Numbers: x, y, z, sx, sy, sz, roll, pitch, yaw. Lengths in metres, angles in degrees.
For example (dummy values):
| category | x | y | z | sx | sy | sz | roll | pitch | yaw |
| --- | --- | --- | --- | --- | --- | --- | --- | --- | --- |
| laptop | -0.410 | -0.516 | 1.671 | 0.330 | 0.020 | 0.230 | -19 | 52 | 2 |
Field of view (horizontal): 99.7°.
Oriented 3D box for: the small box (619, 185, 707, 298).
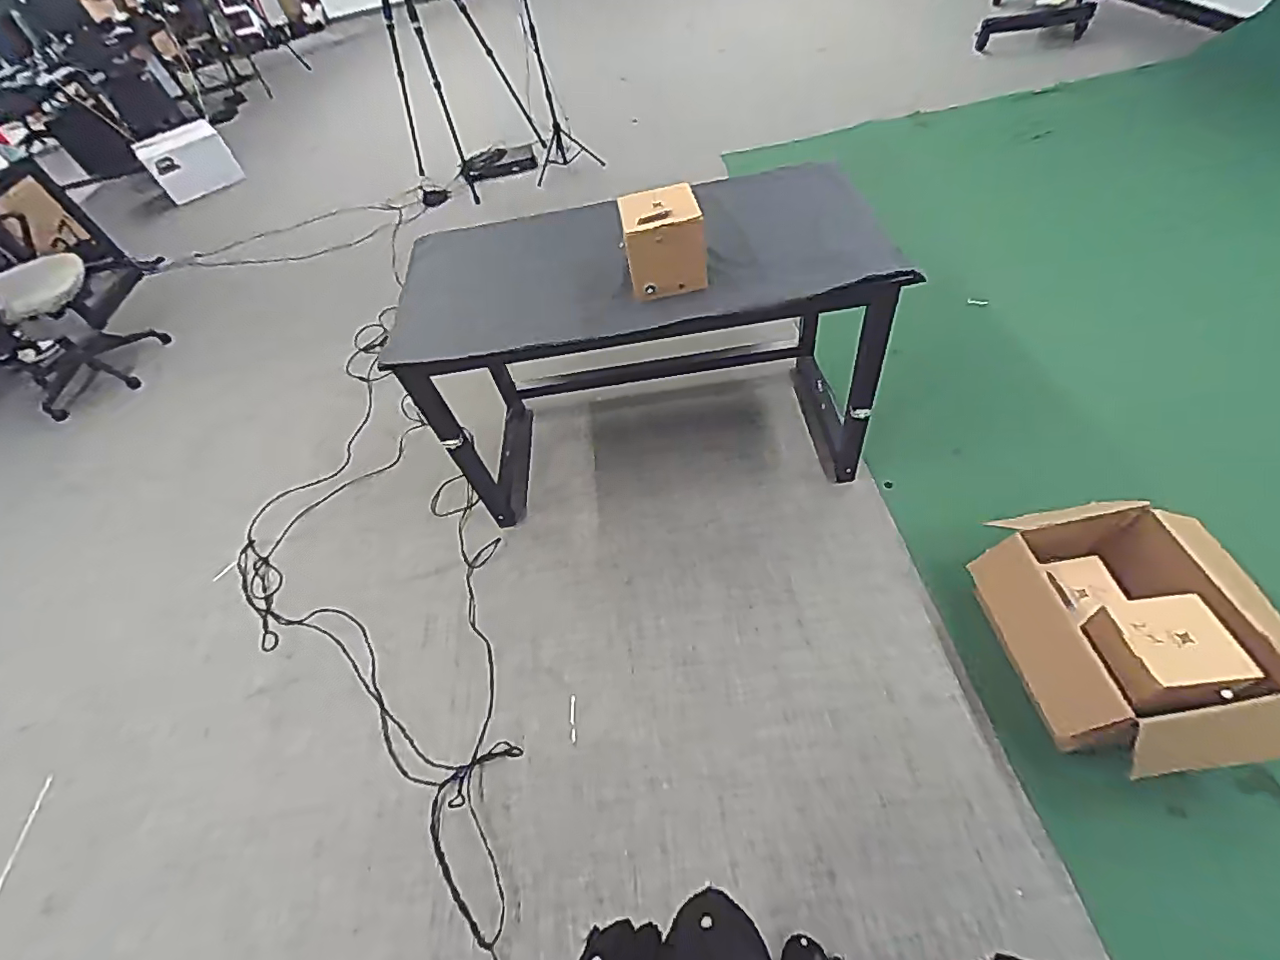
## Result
| category | x | y | z | sx | sy | sz | roll | pitch | yaw |
| --- | --- | --- | --- | --- | --- | --- | --- | --- | --- |
| small box | 0.054 | -0.534 | 1.228 | 0.168 | 0.176 | 0.179 | -11 | 50 | 3 |
